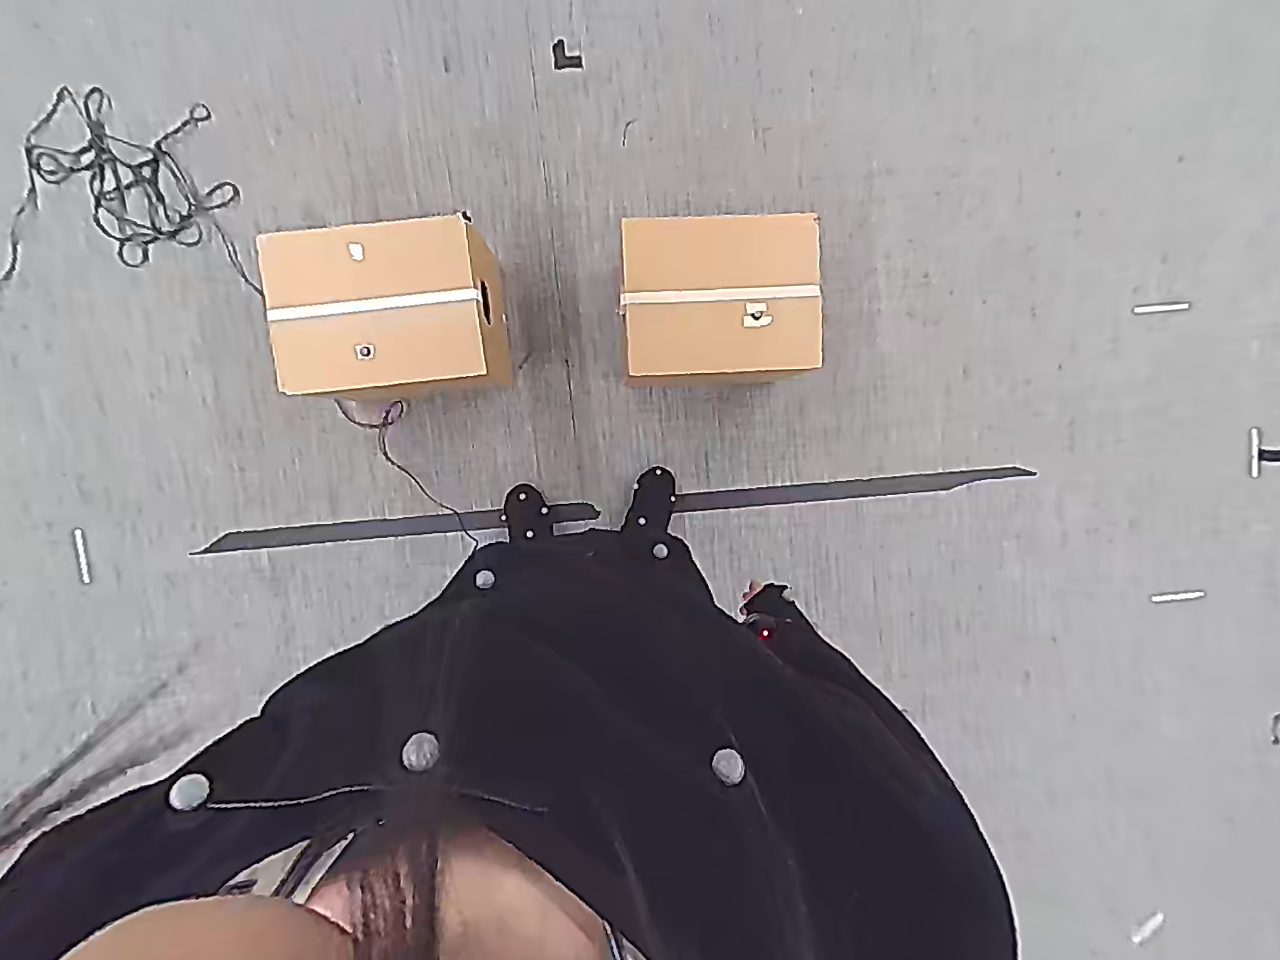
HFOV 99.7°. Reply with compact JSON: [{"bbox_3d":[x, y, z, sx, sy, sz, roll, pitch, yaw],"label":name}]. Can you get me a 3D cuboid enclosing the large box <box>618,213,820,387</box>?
[{"bbox_3d":[0.161,-0.395,1.256,0.408,0.320,0.320,-3,95,-4],"label":"large box"}]
